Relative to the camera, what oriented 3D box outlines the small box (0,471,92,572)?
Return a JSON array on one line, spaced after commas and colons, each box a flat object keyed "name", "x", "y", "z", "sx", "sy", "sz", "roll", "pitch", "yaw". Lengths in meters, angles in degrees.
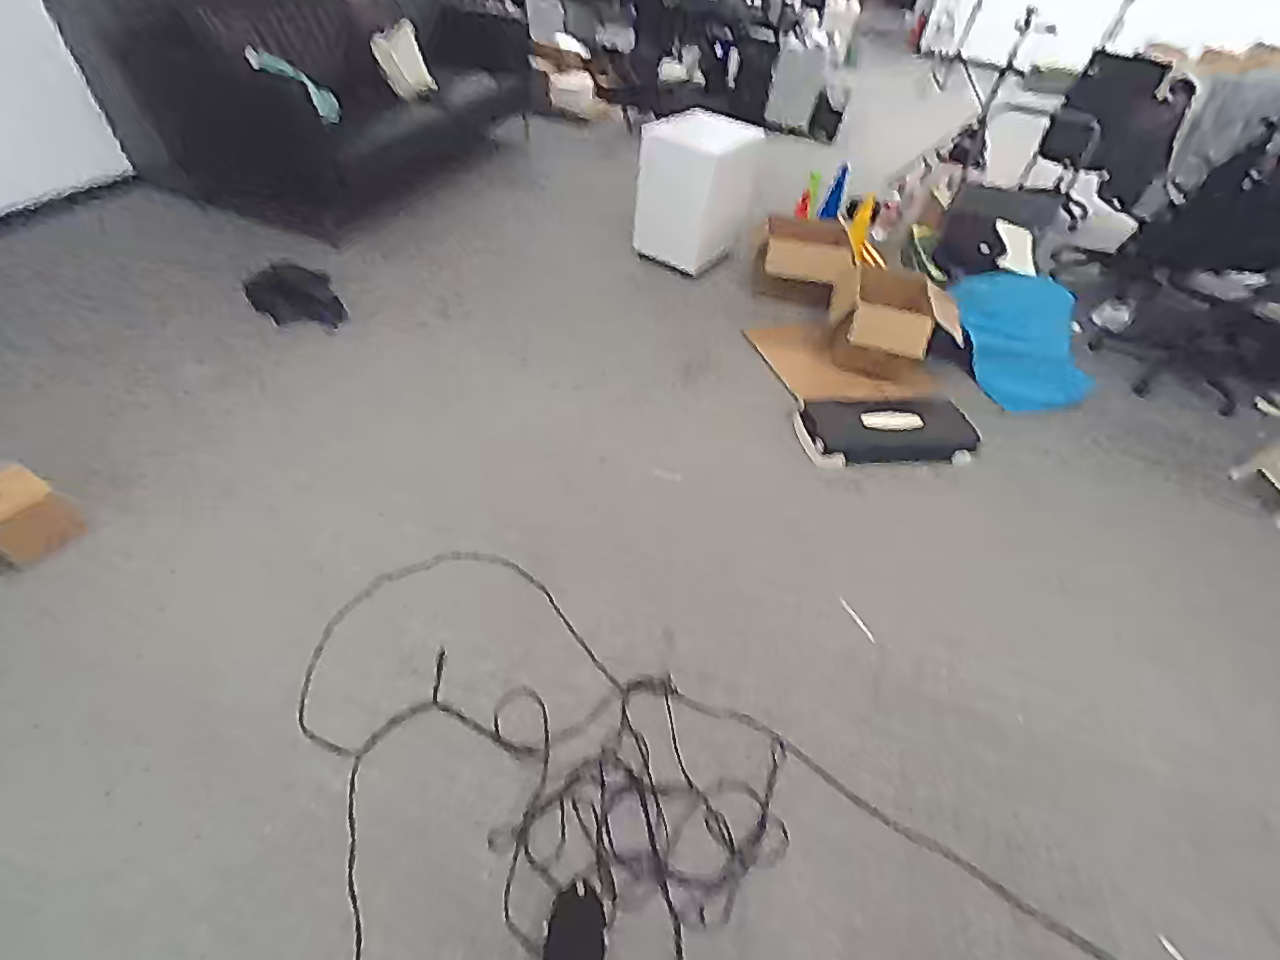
[{"name": "small box", "x": -1.613, "y": 0.114, "z": 1.414, "sx": 0.179, "sy": 0.176, "sz": 0.168, "roll": 25, "pitch": 47, "yaw": 16}]
